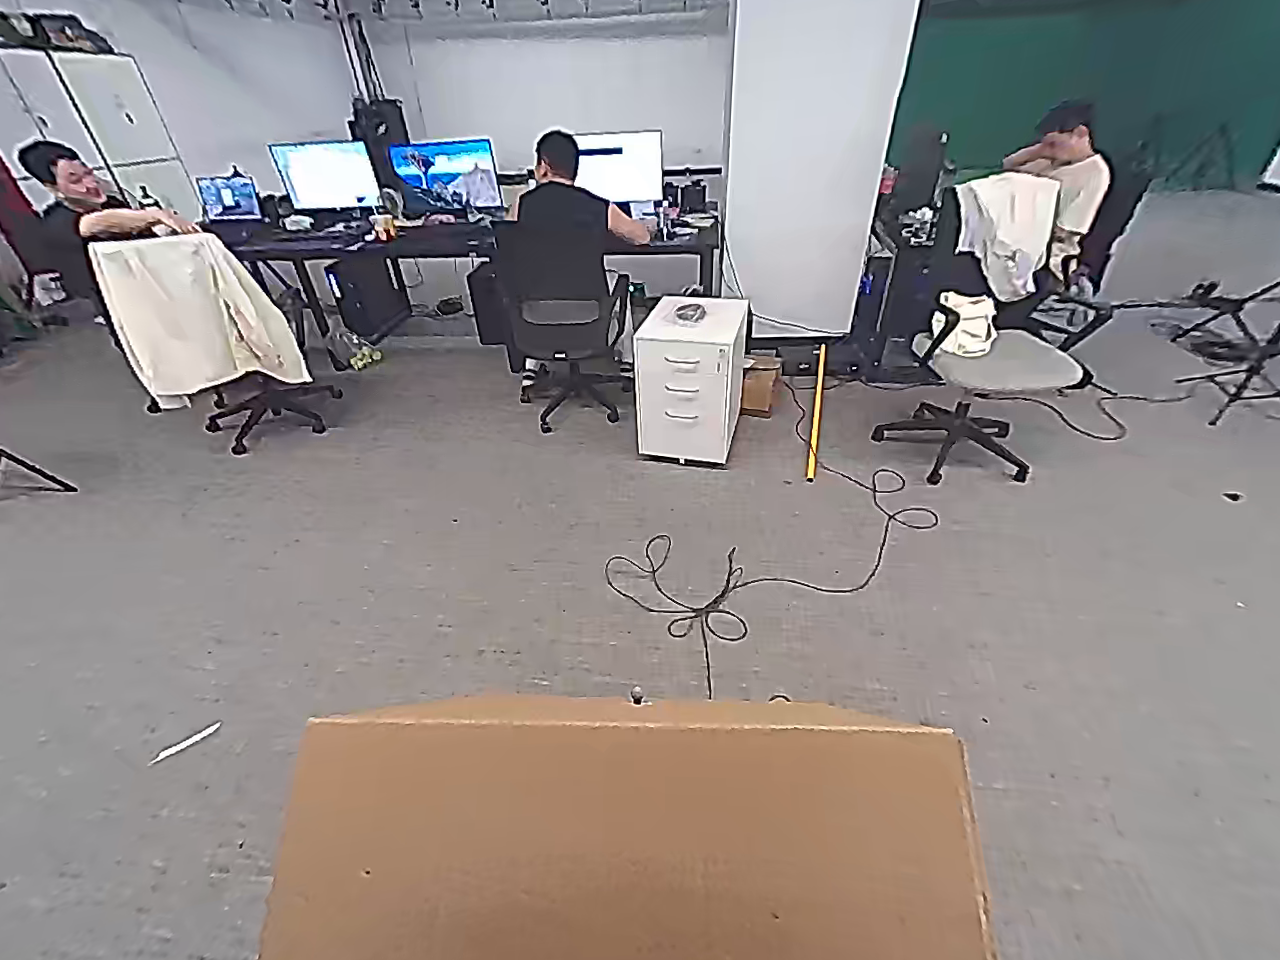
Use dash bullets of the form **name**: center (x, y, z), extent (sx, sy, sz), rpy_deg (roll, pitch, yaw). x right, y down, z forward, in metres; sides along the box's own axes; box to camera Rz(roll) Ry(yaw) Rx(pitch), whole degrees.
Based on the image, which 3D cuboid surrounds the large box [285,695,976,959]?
- **large box**: center (0.000, 0.353, 0.439), extent (0.408, 0.320, 0.320), rpy_deg (-1, 71, 4)
